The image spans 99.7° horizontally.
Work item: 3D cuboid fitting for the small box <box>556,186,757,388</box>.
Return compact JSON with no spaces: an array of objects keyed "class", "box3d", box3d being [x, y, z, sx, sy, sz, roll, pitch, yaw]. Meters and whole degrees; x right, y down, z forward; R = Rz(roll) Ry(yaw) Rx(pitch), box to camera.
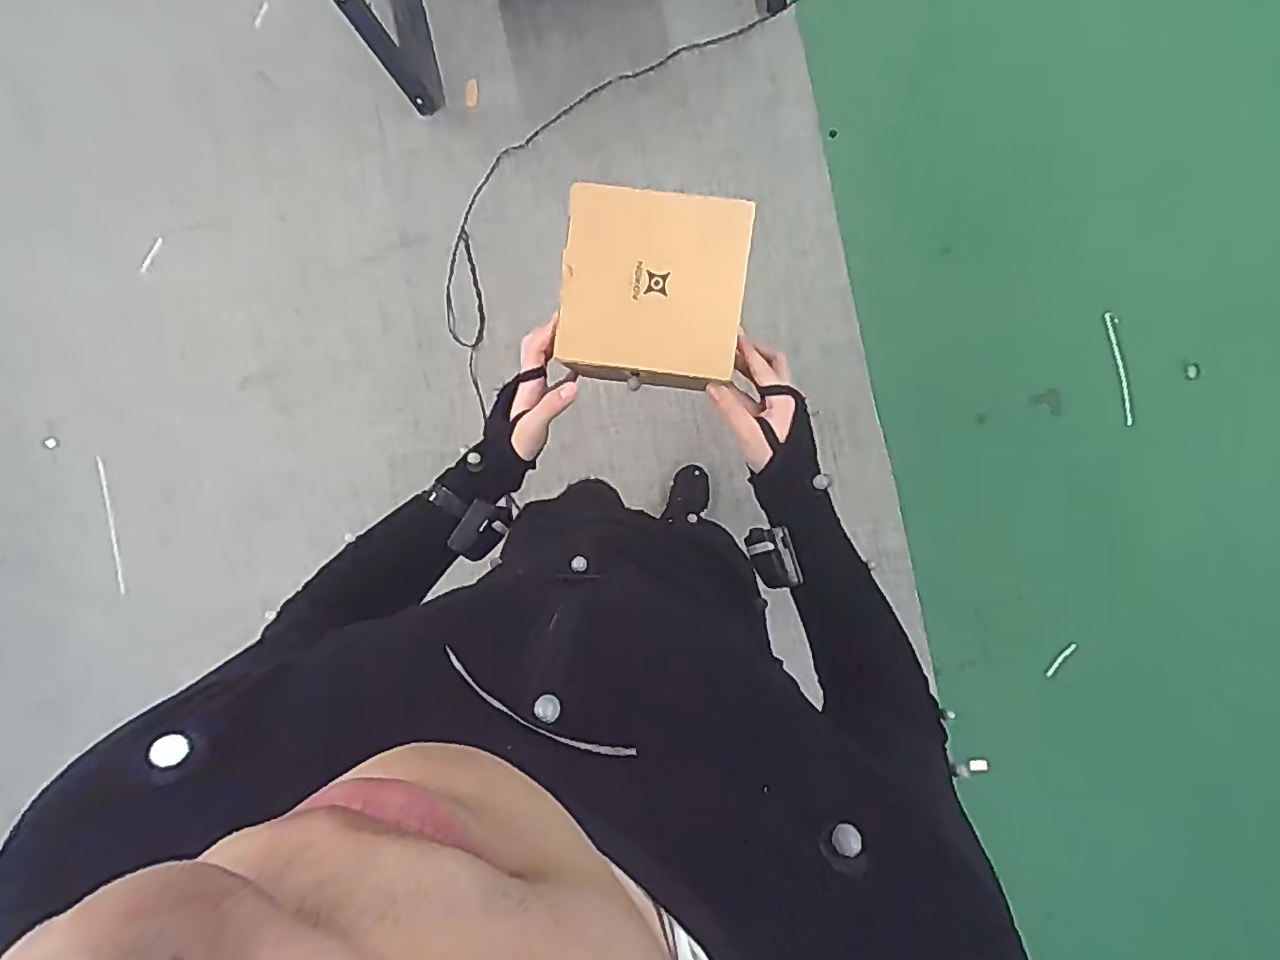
[{"class":"small box","box3d":[0.019,-0.194,0.591,0.179,0.176,0.168,7,96,4]}]
